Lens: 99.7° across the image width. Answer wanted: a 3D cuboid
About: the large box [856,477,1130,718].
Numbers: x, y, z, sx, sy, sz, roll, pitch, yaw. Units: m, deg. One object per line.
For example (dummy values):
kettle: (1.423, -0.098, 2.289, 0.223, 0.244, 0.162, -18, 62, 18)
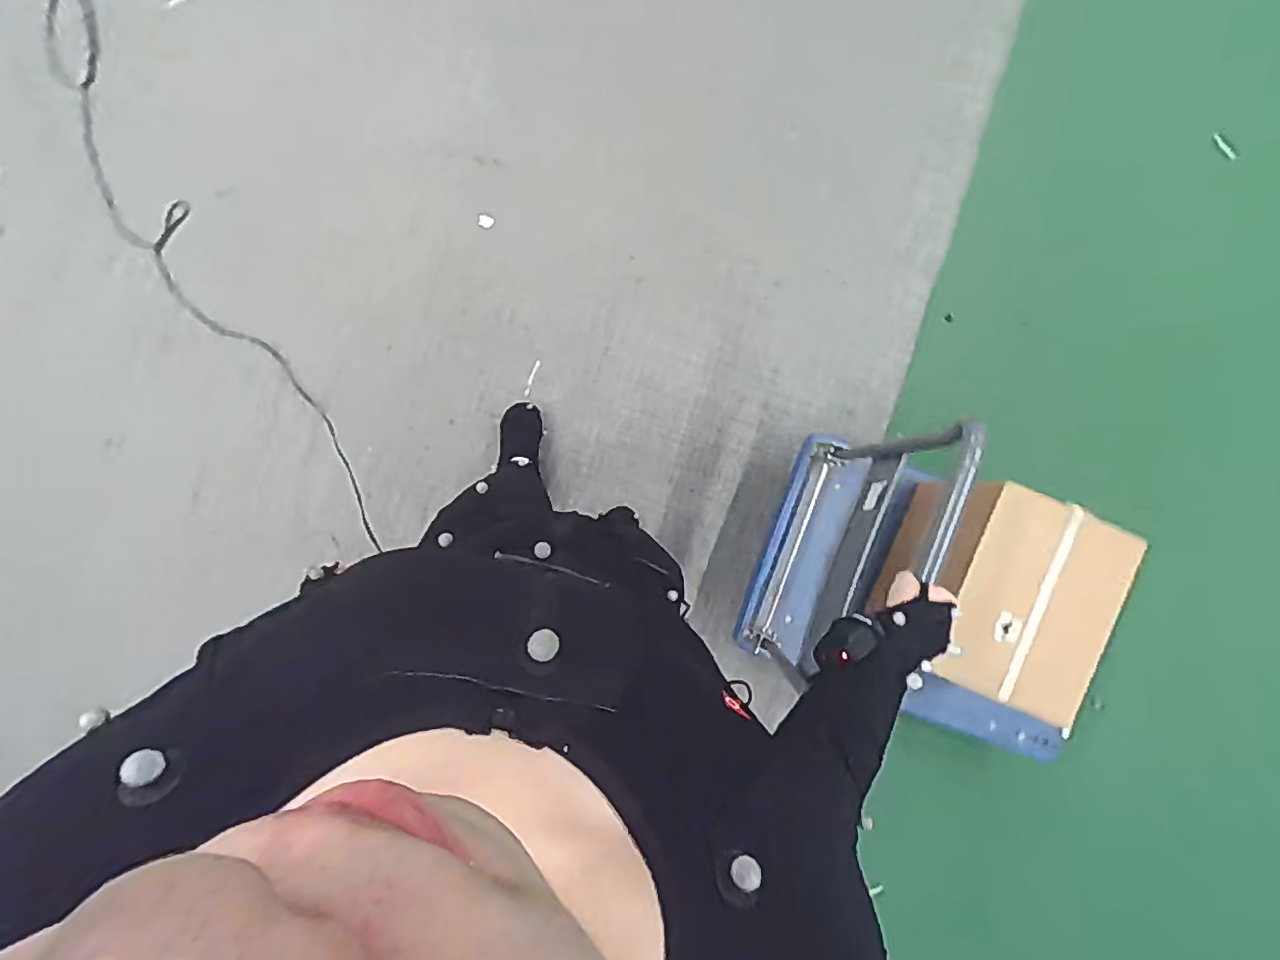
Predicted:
large box: (0.759, 0.232, 1.216, 0.320, 0.320, 0.408, 24, 89, -1)
